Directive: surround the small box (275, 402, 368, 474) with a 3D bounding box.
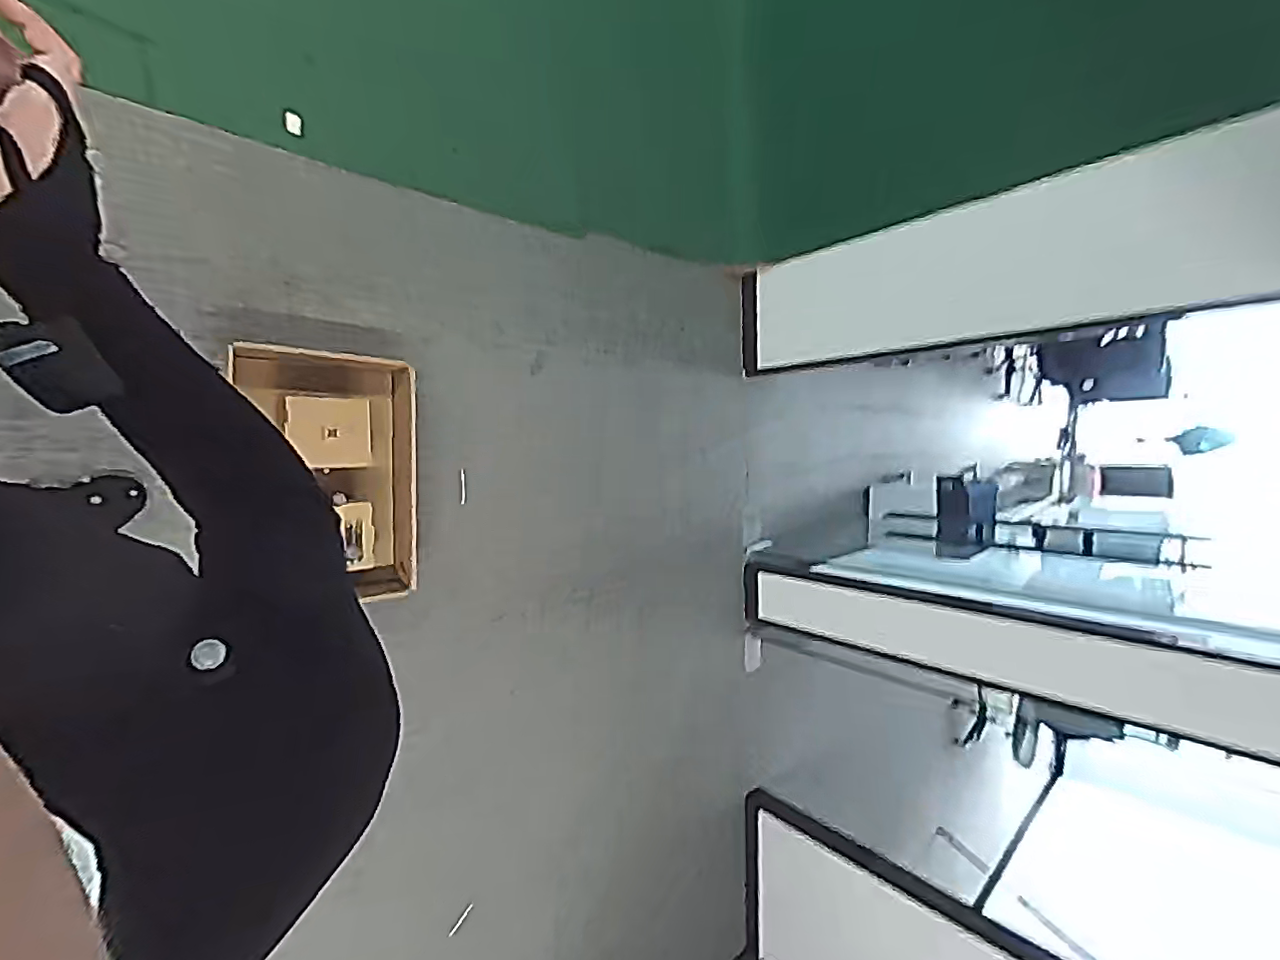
[{"bbox_3d":[-0.783,-0.100,1.326,0.179,0.176,0.168,-3,95,-41],"label":"small box"}]
